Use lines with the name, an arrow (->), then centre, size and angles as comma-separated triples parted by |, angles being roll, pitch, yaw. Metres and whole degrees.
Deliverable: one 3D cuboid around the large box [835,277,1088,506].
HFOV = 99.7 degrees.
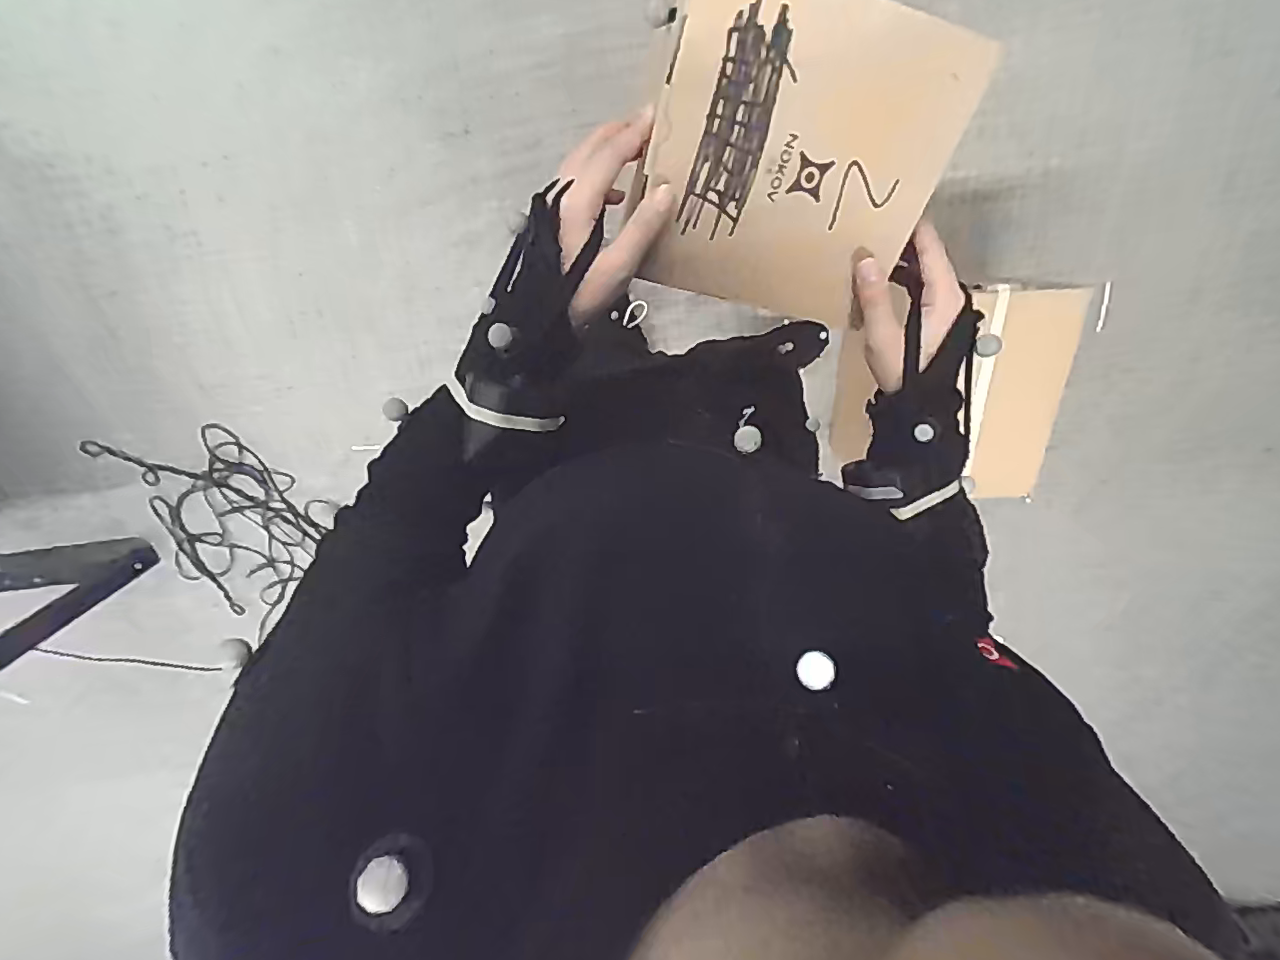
large box -> 0.631, -0.199, 1.146 | 0.320, 0.320, 0.408 | -2, 115, 1
